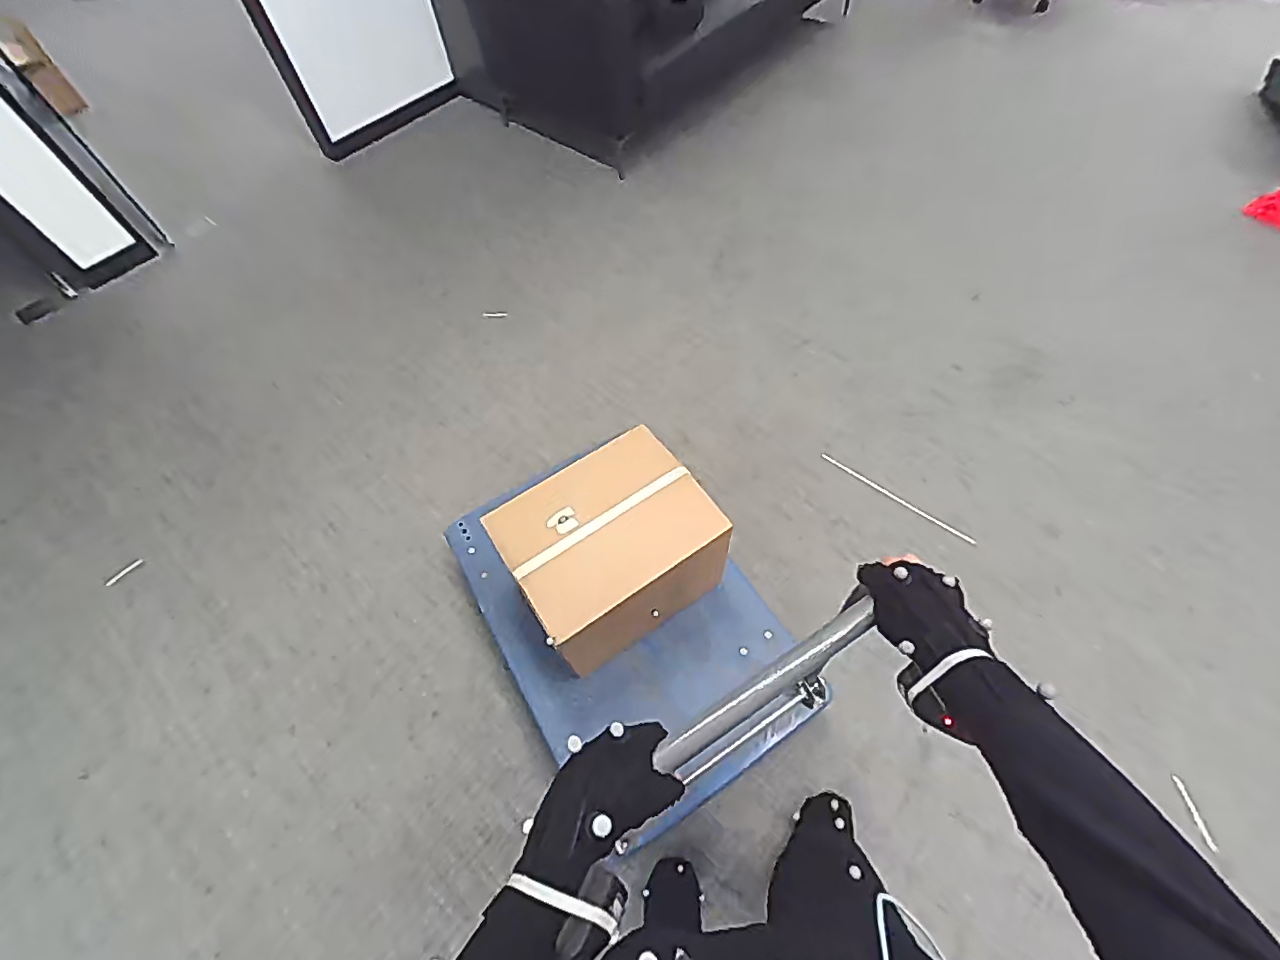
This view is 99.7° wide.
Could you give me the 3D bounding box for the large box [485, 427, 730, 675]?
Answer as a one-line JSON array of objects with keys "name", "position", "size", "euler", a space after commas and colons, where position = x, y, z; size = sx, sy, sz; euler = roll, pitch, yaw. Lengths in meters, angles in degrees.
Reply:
[{"name": "large box", "position": [-0.059, 0.163, 1.202], "size": [0.408, 0.320, 0.320], "euler": [-33, 63, -15]}]
